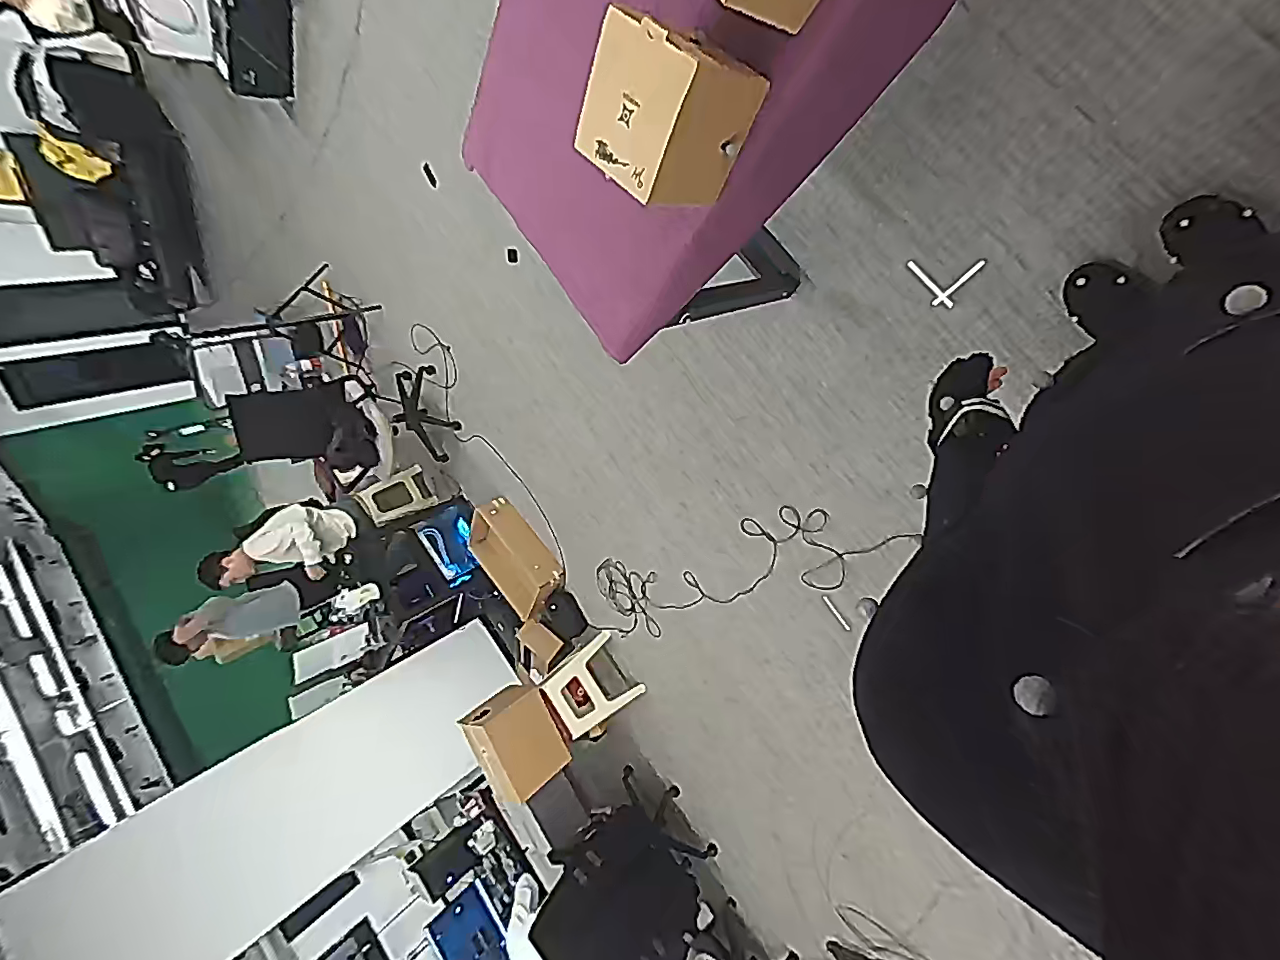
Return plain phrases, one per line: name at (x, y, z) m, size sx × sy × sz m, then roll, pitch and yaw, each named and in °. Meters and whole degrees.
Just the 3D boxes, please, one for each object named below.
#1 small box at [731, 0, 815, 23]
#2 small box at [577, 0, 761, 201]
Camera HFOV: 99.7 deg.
small box at (0.147, -0.656, 0.587) m, size 0.168 × 0.176 × 0.179 m, roll 57°, pitch 140°, yaw 8°
small box at (0.044, -0.521, 0.763) m, size 0.168 × 0.176 × 0.179 m, roll 47°, pitch 135°, yaw 19°
